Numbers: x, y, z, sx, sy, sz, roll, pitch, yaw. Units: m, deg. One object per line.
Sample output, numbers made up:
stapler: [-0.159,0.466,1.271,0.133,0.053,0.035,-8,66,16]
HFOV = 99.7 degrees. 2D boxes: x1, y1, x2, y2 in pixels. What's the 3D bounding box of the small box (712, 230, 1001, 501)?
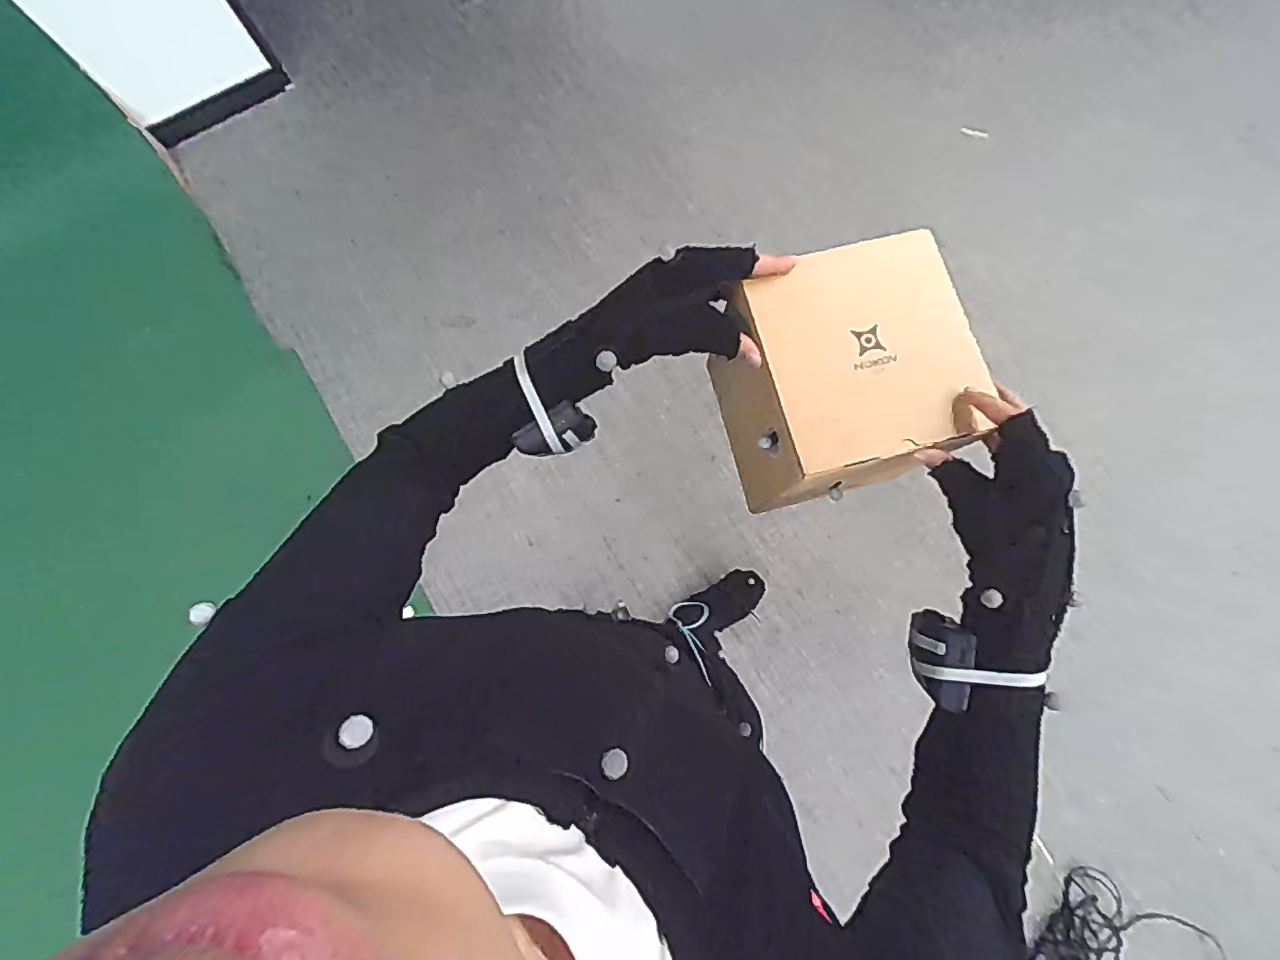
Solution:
small box: [0.176,-0.092,0.501,0.168,0.176,0.179,-13,80,-5]
